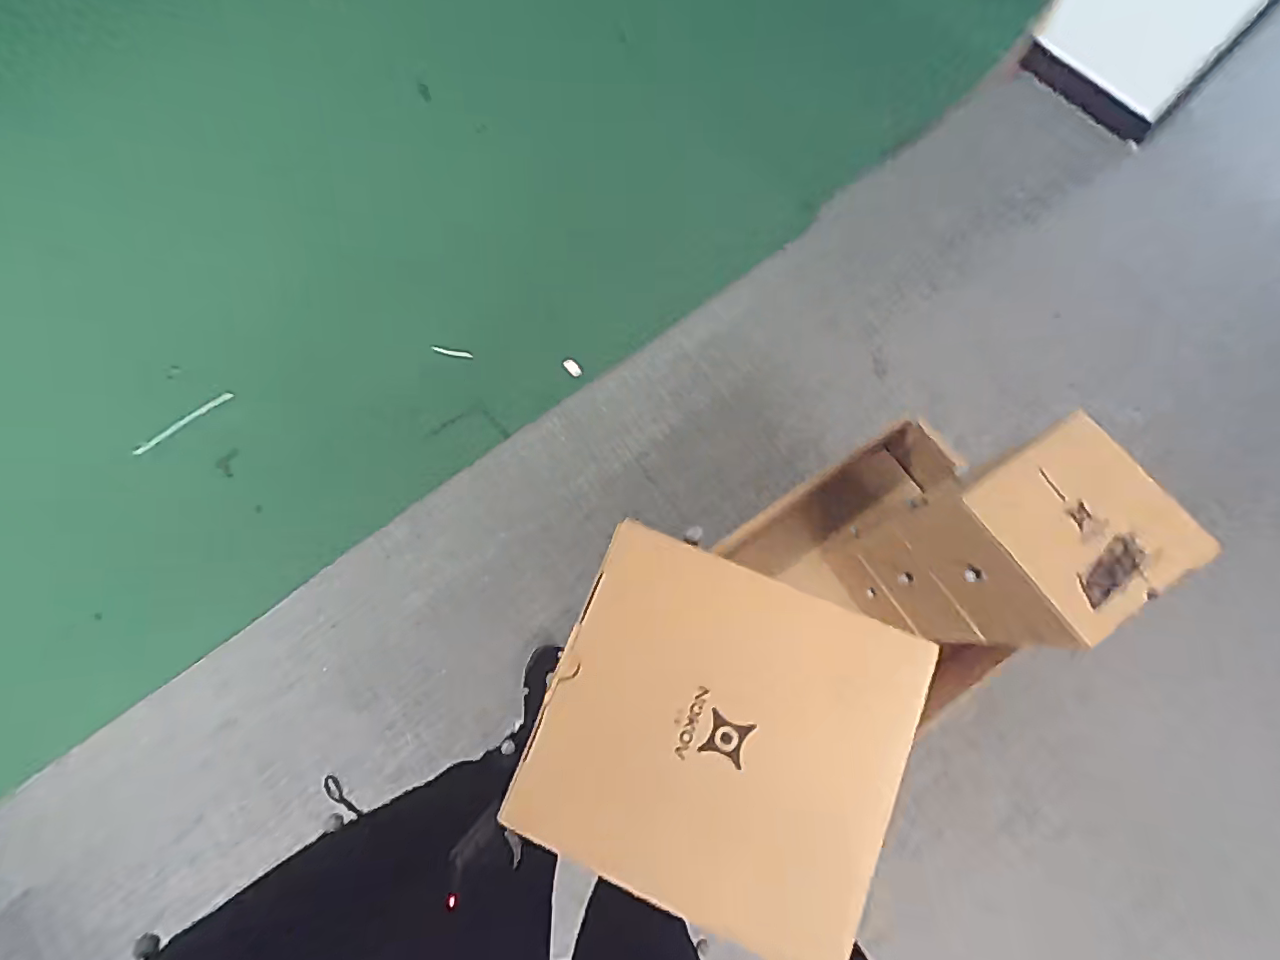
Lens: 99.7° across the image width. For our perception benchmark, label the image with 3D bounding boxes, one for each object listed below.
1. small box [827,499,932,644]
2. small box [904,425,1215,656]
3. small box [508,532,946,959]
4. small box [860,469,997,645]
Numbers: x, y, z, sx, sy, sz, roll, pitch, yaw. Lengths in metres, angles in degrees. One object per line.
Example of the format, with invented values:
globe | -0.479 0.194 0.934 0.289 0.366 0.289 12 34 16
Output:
small box | 0.450 0.161 0.923 0.168 0.176 0.179 -31 76 -6
small box | 0.442 0.073 0.606 0.168 0.176 0.179 -32 75 -6
small box | 0.049 0.145 0.345 0.179 0.176 0.168 20 80 9
small box | 0.448 0.117 0.765 0.168 0.176 0.179 -32 75 -5
